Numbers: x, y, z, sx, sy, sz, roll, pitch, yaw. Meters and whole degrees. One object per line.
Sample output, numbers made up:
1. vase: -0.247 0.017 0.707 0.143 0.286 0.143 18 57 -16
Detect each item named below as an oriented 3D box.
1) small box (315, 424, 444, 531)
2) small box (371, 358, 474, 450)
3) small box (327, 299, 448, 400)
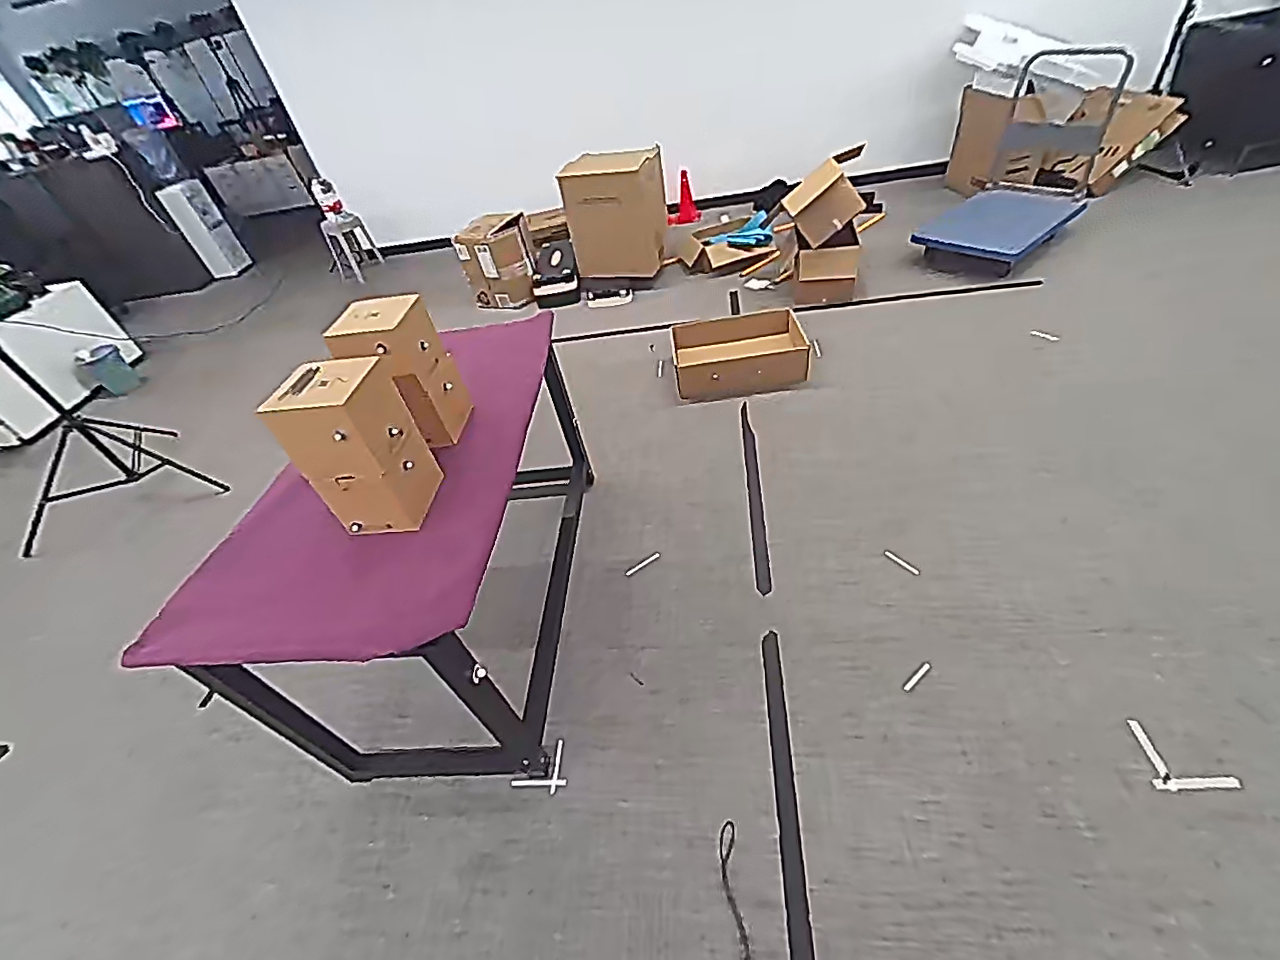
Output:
1. small box: -0.558 0.001 1.190 0.168 0.176 0.179 -4 42 9
2. small box: -0.550 -0.193 1.398 0.168 0.176 0.179 -4 44 9
3. small box: -0.585 -0.307 1.283 0.179 0.176 0.168 -4 43 9
